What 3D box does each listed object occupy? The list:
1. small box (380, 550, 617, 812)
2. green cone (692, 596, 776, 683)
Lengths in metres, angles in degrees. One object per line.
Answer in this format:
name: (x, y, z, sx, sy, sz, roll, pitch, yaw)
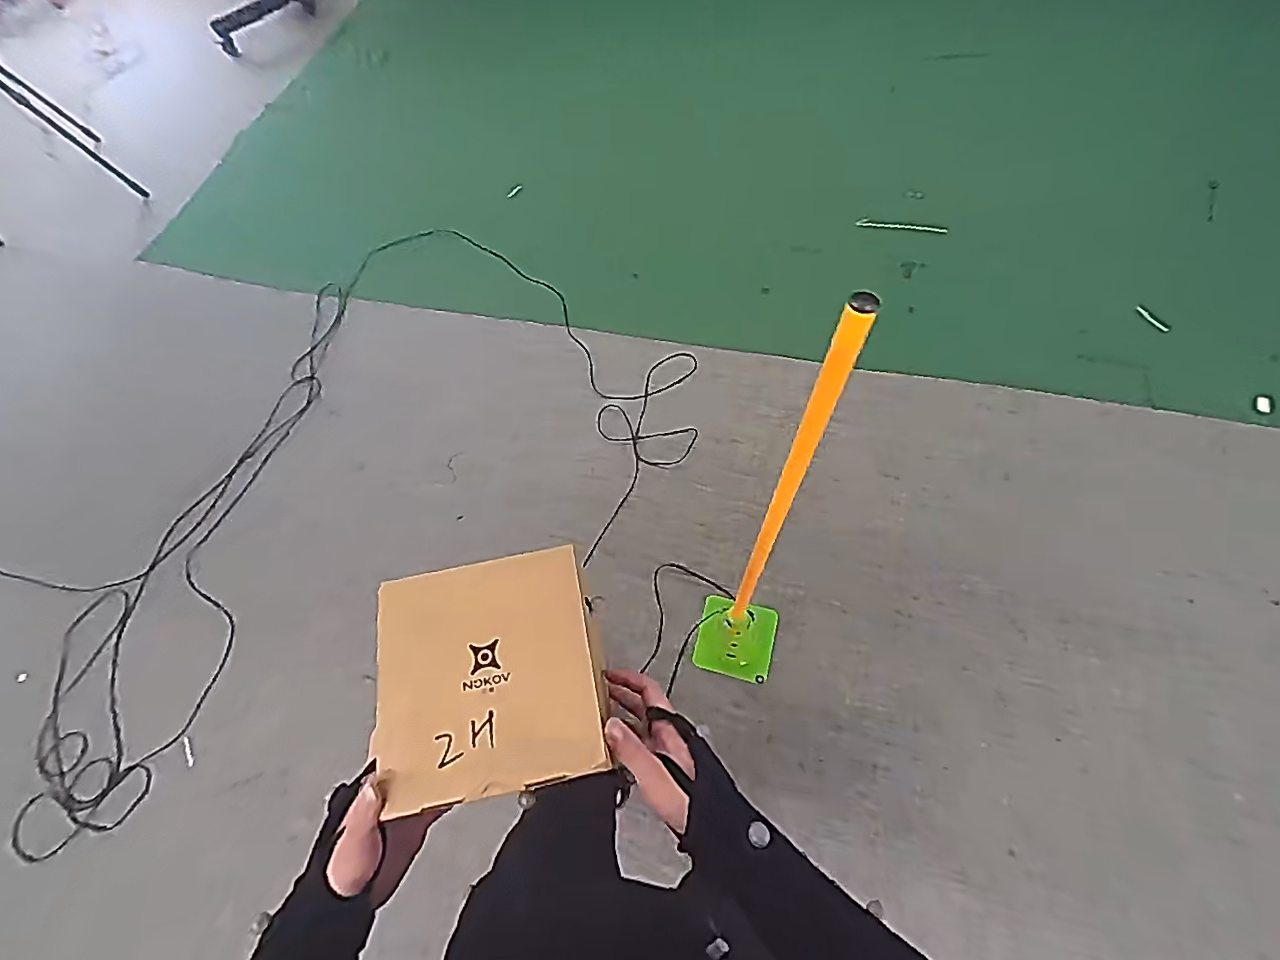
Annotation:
small box: (-0.118, 0.185, 0.498, 0.168, 0.176, 0.179, -10, 64, -3)
green cone: (0.230, 0.357, 1.318, 0.202, 0.368, 0.200, 12, 68, 15)
